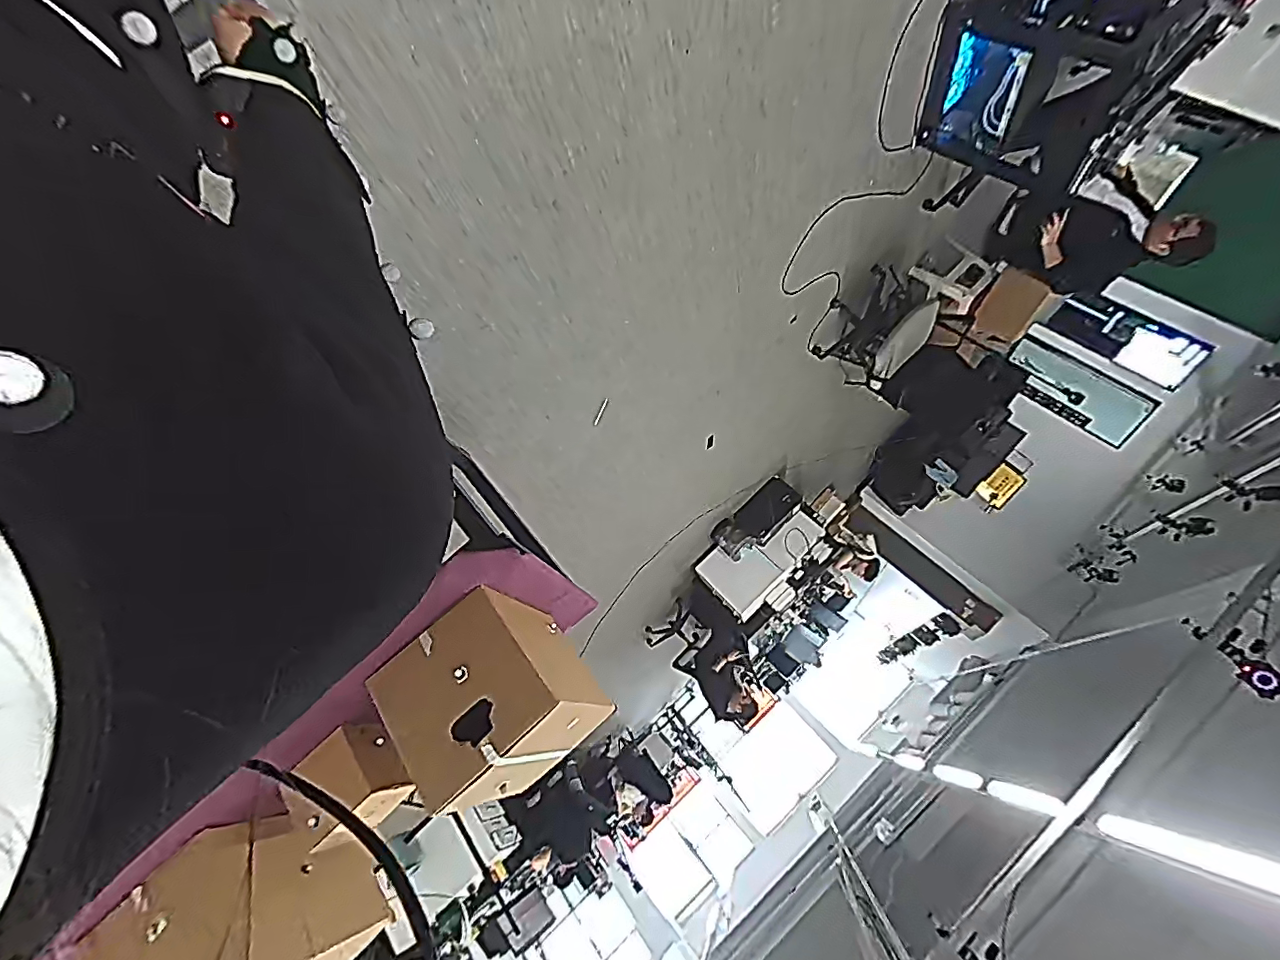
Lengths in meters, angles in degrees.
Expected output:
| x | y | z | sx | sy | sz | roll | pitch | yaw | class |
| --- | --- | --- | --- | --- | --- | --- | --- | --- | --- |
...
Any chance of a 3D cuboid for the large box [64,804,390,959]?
| x | y | z | sx | sy | sz | roll | pitch | yaw | class |
| --- | --- | --- | --- | --- | --- | --- | --- | --- | --- |
| -0.840 | 0.958 | 1.145 | 0.320 | 0.320 | 0.408 | -42 | 155 | -7 | large box |
